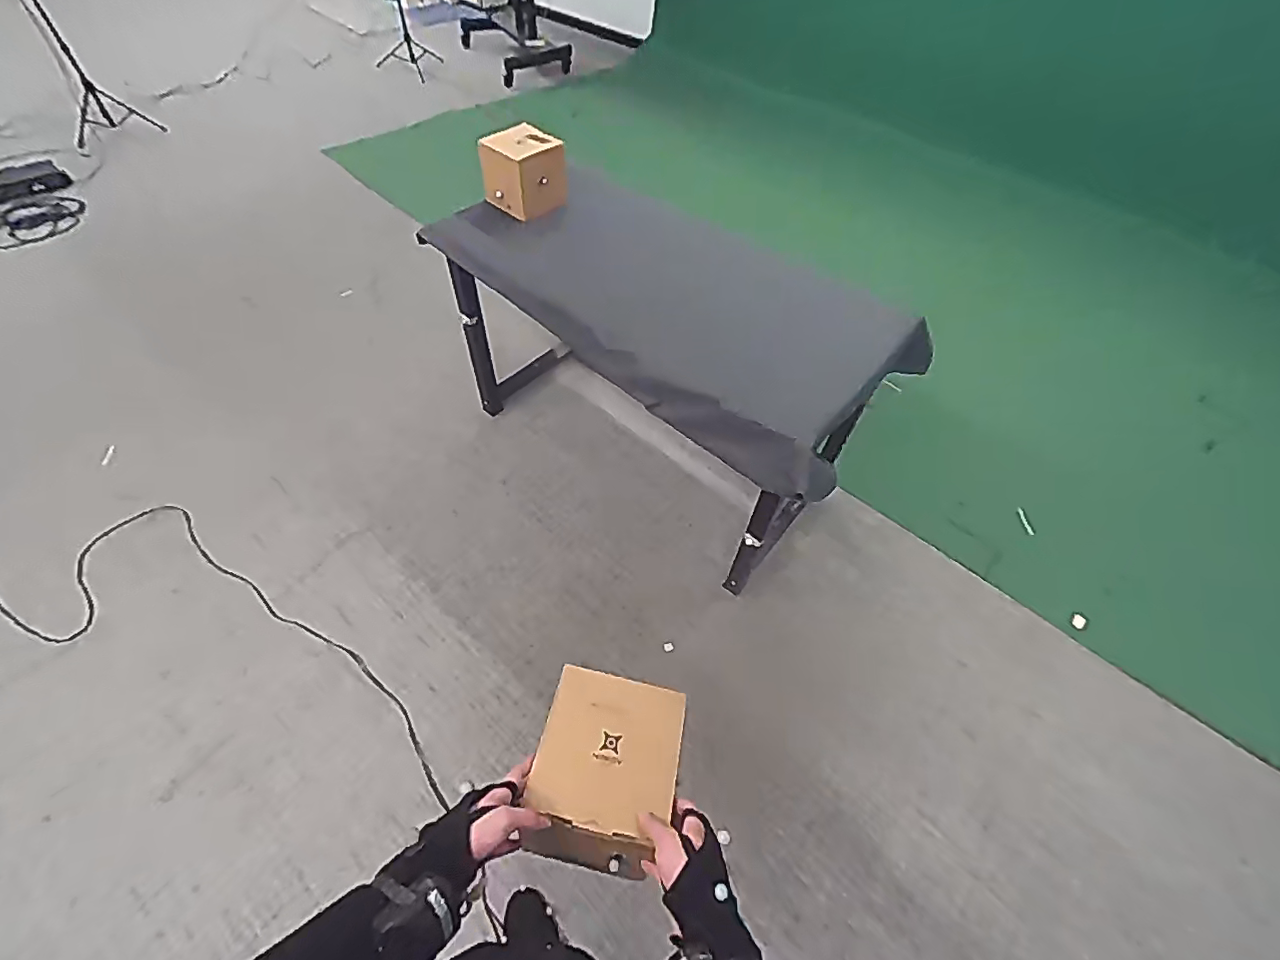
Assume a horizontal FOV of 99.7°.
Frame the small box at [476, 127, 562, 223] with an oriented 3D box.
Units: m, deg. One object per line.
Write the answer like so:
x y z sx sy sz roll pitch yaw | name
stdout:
-0.339 -0.872 1.548 0.168 0.176 0.179 36 60 20 | small box

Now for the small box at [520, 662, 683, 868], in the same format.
-0.048 0.373 0.703 0.168 0.176 0.179 13 42 1 | small box
